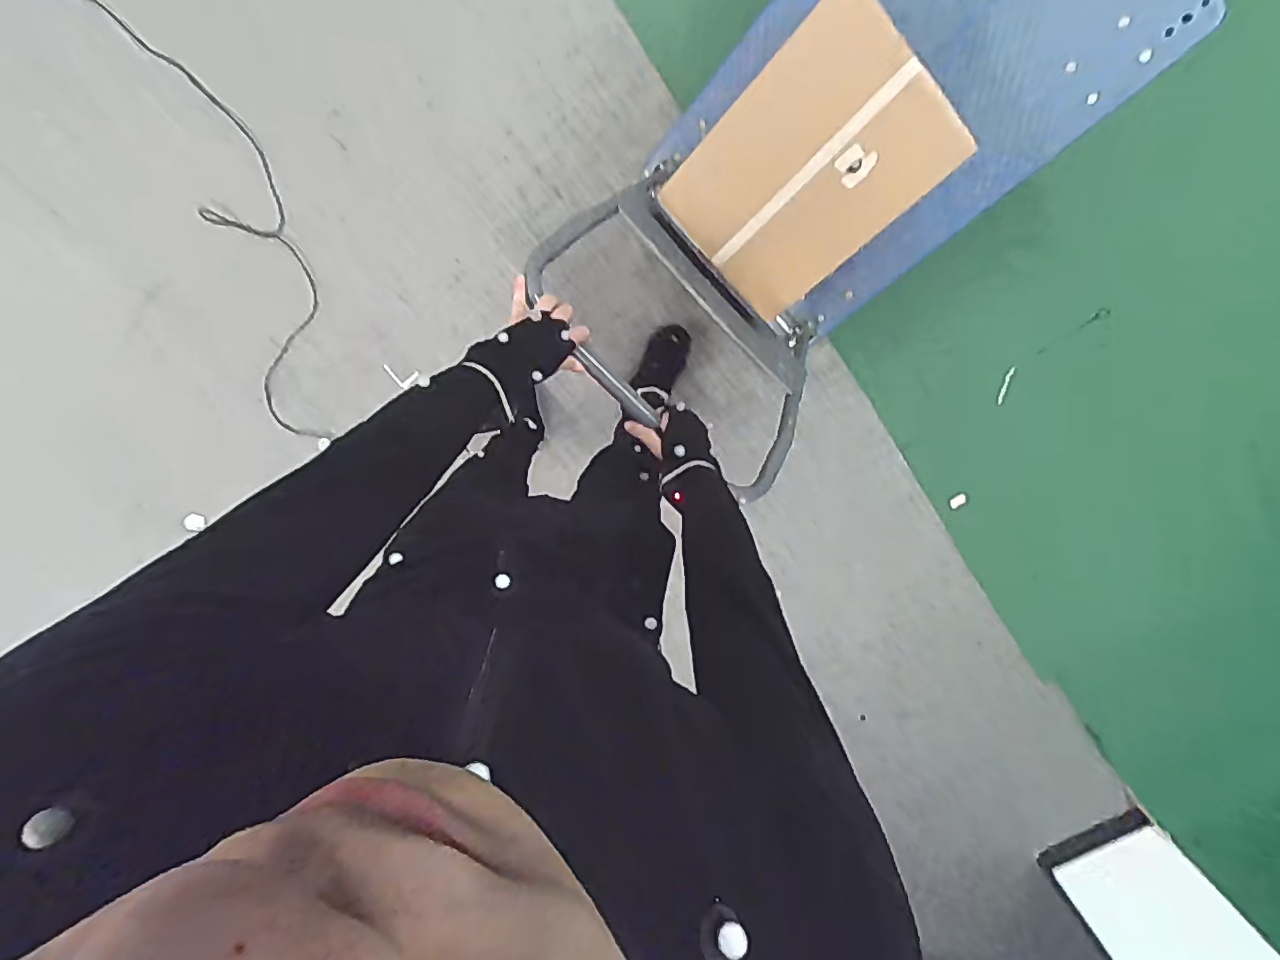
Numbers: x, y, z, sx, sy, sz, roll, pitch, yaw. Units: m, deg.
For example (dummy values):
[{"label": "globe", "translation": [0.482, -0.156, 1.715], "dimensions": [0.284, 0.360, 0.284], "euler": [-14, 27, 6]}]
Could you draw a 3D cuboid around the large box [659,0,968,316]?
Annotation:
[{"label": "large box", "translation": [0.303, -0.591, 1.013], "dimensions": [0.320, 0.320, 0.408], "euler": [43, 125, -14]}]
